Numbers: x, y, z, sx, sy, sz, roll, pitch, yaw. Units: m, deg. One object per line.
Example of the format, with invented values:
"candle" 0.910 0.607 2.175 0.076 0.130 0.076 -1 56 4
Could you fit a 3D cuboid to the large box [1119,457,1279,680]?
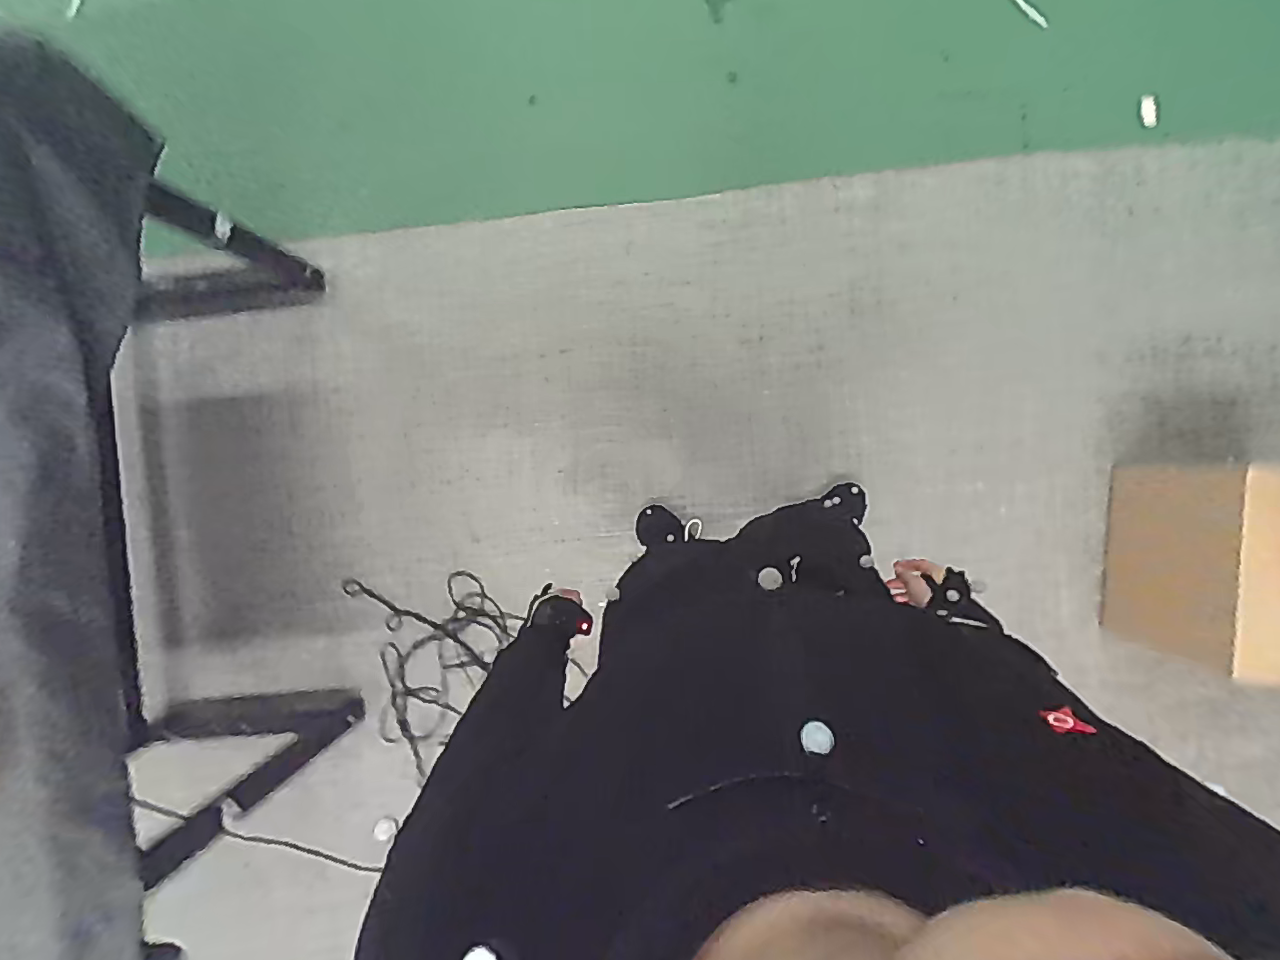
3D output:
"large box" 1.265 0.157 1.109 0.320 0.320 0.408 1 92 5
